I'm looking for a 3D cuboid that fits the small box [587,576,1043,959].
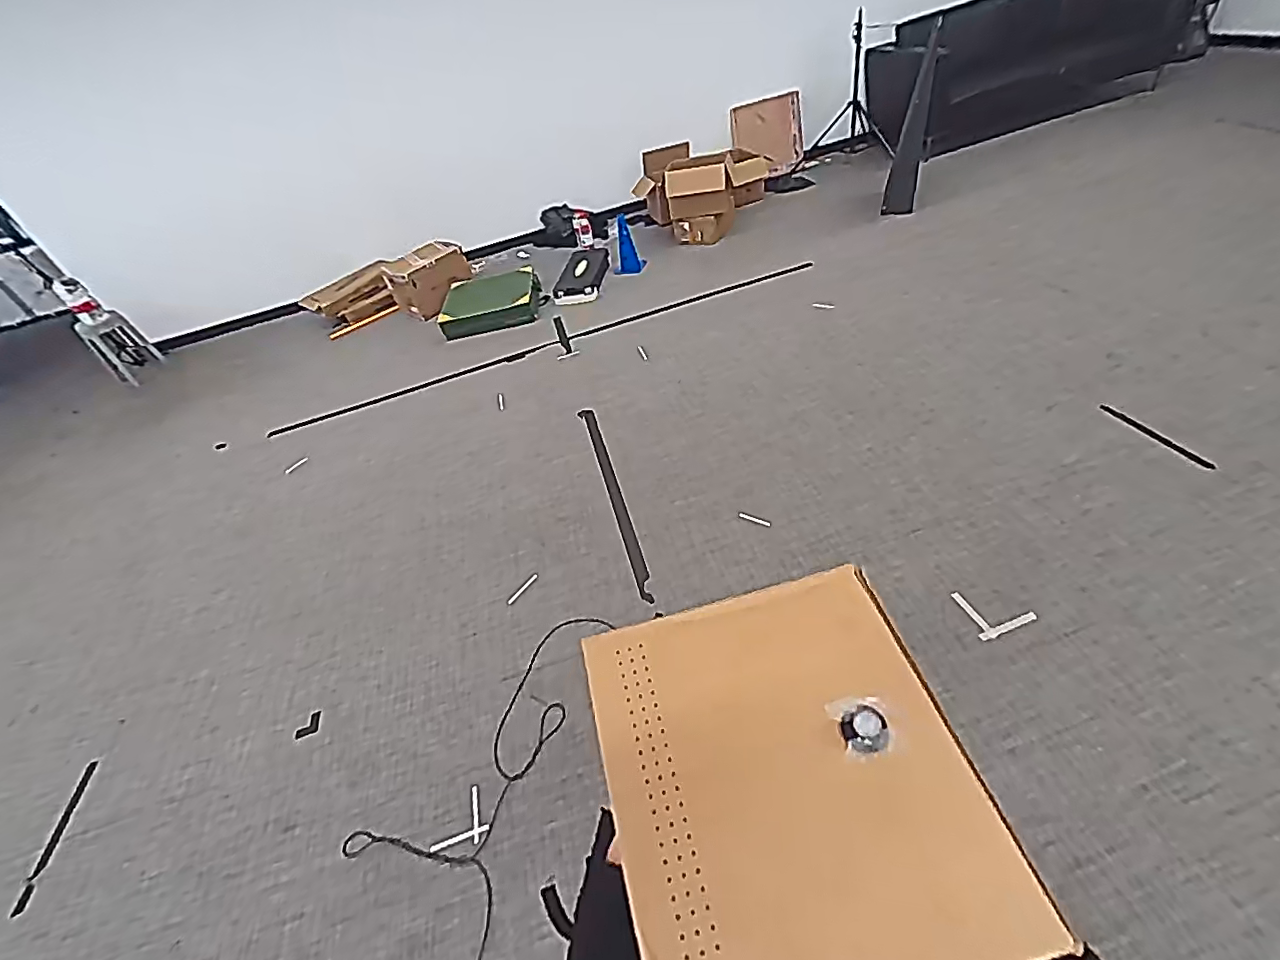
[{"bbox_3d":[0.072,0.190,0.325,0.176,0.168,0.179,-15,51,-3],"label":"small box"}]
